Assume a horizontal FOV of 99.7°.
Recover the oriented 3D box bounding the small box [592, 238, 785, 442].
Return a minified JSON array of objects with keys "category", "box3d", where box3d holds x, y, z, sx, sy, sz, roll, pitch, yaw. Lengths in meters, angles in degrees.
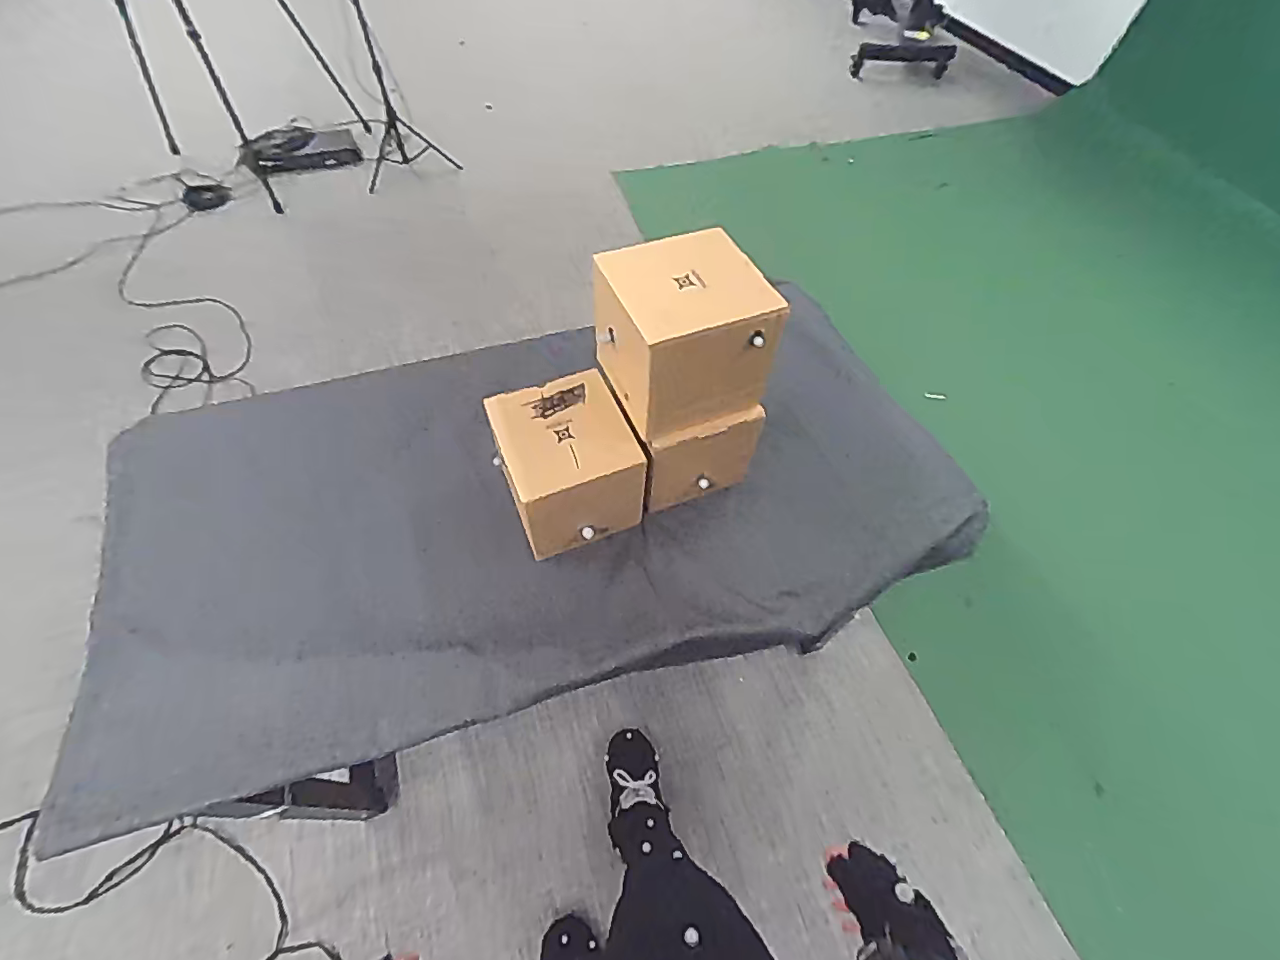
[{"category":"small box","box3d":[0.051,-0.172,0.686,0.179,0.176,0.168,-19,59,-16]}]
